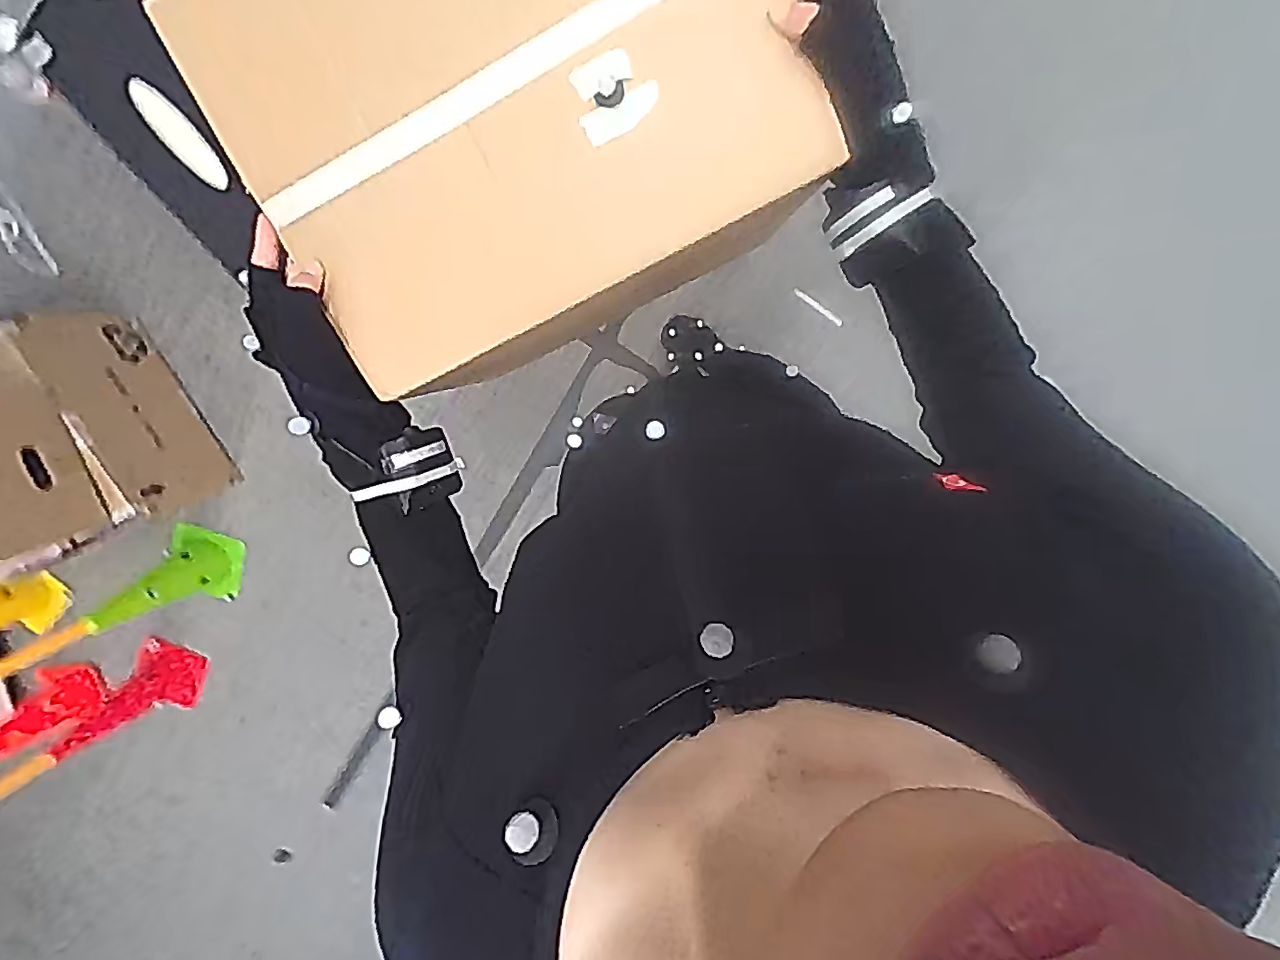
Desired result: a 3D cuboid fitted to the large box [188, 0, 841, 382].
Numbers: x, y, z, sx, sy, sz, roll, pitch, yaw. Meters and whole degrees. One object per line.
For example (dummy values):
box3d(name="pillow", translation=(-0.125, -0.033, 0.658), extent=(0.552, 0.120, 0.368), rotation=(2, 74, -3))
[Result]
box3d(name="large box", translation=(-0.087, -0.326, 0.541), extent=(0.408, 0.320, 0.320), rotation=(-24, 102, 7))
